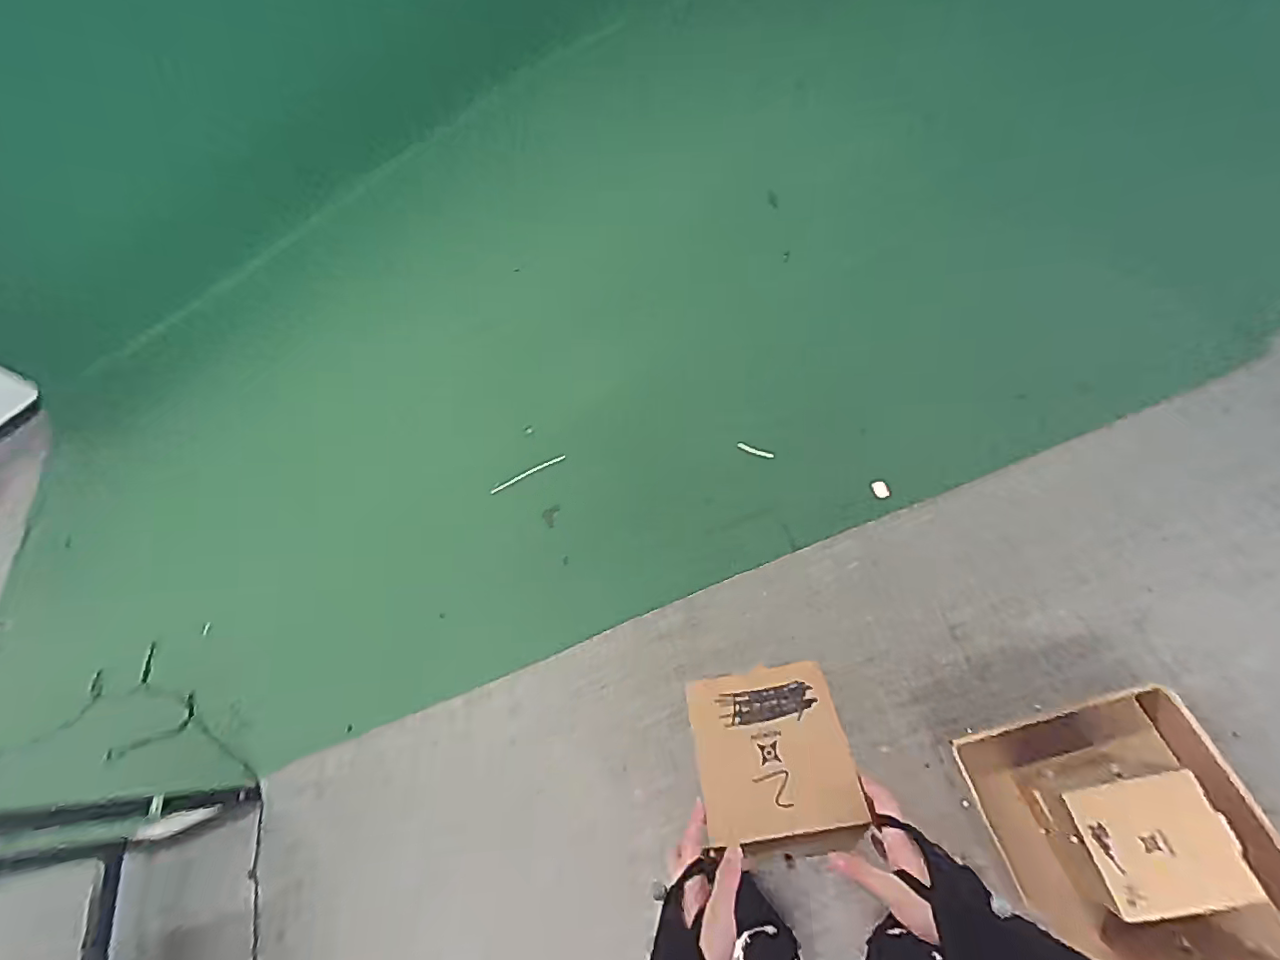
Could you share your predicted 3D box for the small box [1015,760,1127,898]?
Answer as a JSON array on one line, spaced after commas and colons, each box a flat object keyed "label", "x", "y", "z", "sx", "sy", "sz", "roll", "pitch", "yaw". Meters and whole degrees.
[{"label": "small box", "x": 0.829, "y": 0.633, "z": 0.996, "sx": 0.179, "sy": 0.176, "sz": 0.168, "roll": -25, "pitch": 62, "yaw": 11}]

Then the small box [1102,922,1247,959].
[{"label": "small box", "x": 0.897, "y": 0.852, "z": 0.870, "sx": 0.179, "sy": 0.176, "sz": 0.168, "roll": -25, "pitch": 59, "yaw": 11}]

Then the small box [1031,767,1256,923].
[{"label": "small box", "x": 0.771, "y": 0.566, "z": 0.857, "sx": 0.179, "sy": 0.176, "sz": 0.168, "roll": -20, "pitch": 61, "yaw": 13}]
